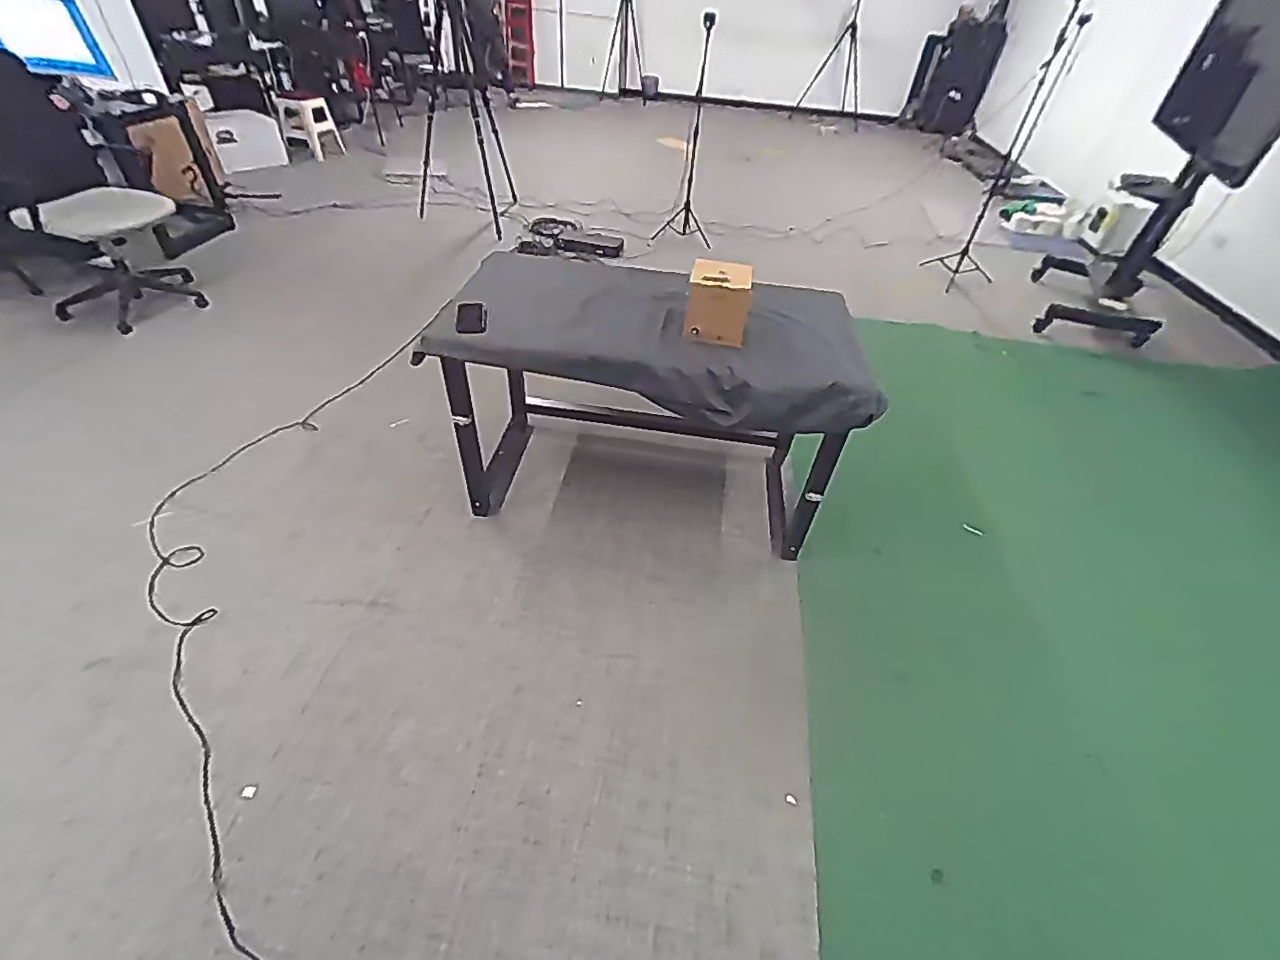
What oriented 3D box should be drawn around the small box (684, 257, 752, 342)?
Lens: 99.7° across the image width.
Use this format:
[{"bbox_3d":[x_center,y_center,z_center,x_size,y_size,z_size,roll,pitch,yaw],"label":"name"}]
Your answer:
[{"bbox_3d":[0.220,-0.512,1.540,0.168,0.176,0.179,10,42,4],"label":"small box"}]
